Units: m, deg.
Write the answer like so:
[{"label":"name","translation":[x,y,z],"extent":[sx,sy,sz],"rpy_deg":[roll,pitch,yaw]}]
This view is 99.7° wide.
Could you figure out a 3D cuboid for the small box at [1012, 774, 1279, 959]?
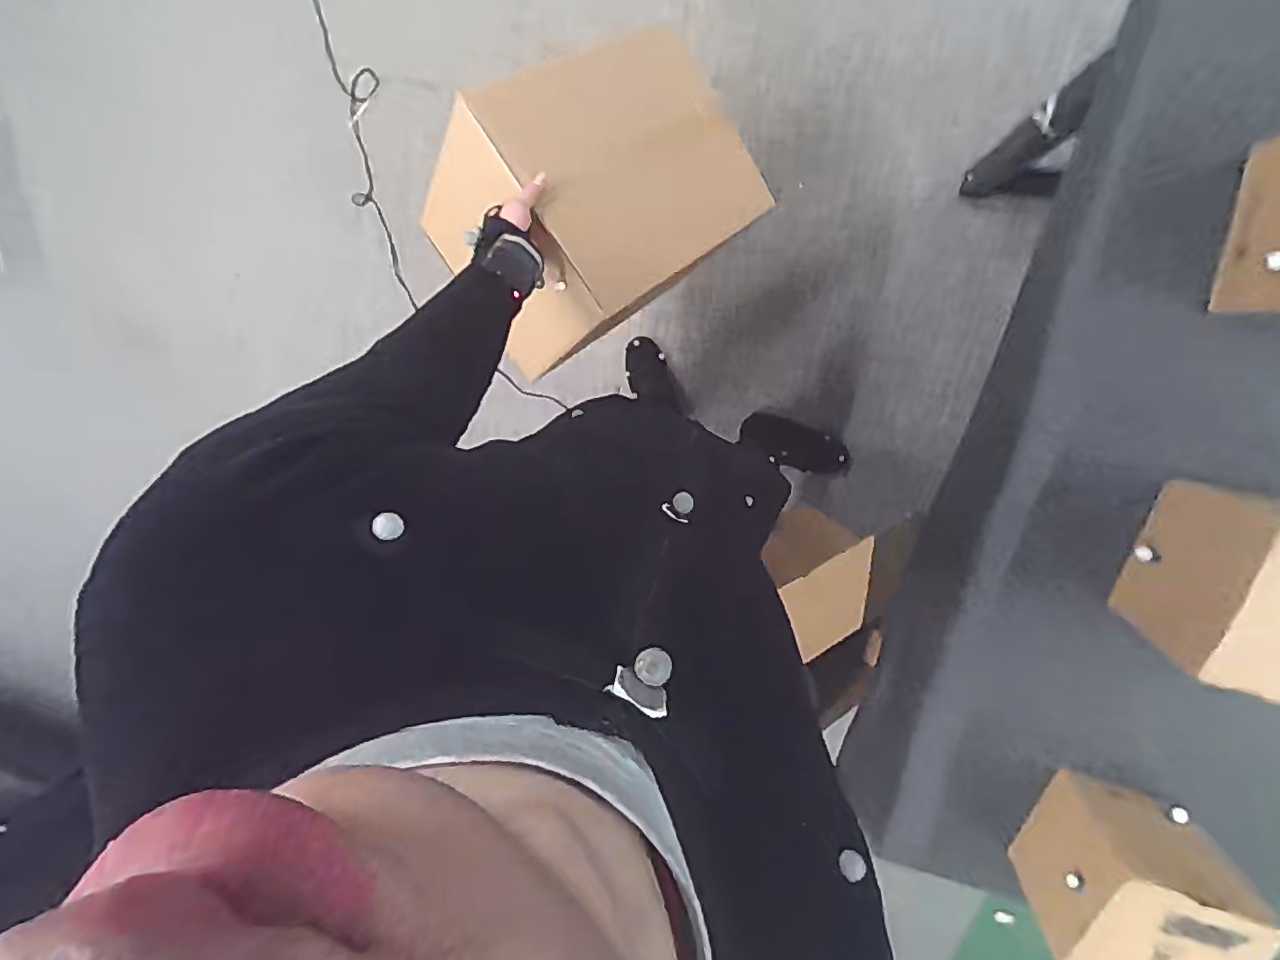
[{"label":"small box","translation":[0.632,0.532,0.709],"extent":[0.168,0.176,0.179],"rpy_deg":[18,110,10]}]

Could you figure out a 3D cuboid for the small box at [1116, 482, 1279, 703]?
[{"label":"small box","translation":[0.674,0.121,0.585],"extent":[0.168,0.176,0.179],"rpy_deg":[14,109,11]}]

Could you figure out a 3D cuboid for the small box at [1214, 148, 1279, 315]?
[{"label":"small box","translation":[0.689,-0.234,0.481],"extent":[0.179,0.176,0.168],"rpy_deg":[3,108,12]}]
